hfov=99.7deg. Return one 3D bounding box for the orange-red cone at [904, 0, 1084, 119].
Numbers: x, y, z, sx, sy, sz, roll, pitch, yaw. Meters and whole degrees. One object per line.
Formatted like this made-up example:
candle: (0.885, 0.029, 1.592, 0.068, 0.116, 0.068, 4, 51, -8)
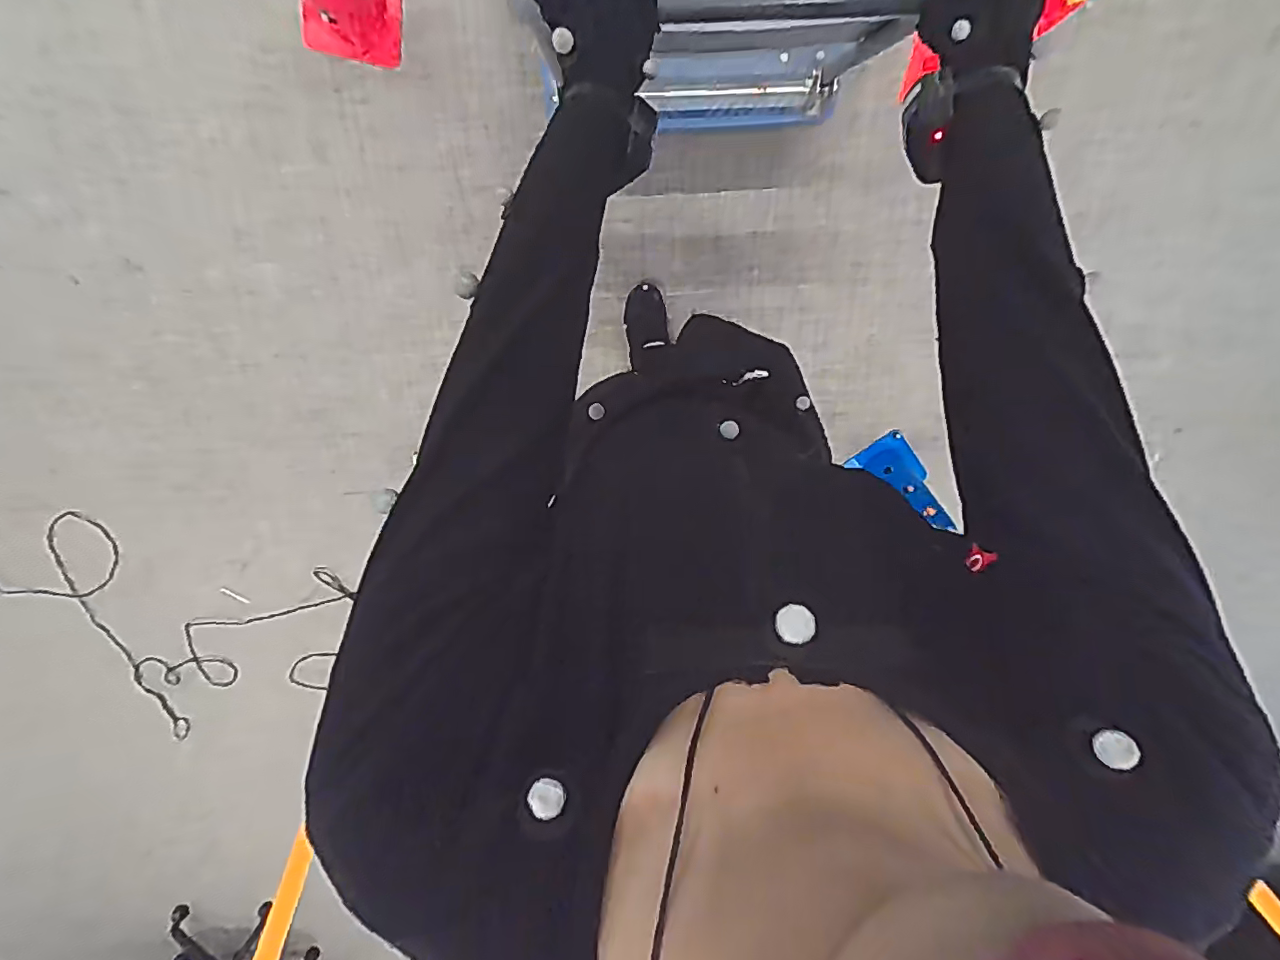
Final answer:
orange-red cone: (0.697, -0.848, 1.022, 0.198, 0.360, 0.199, 8, 113, -4)
